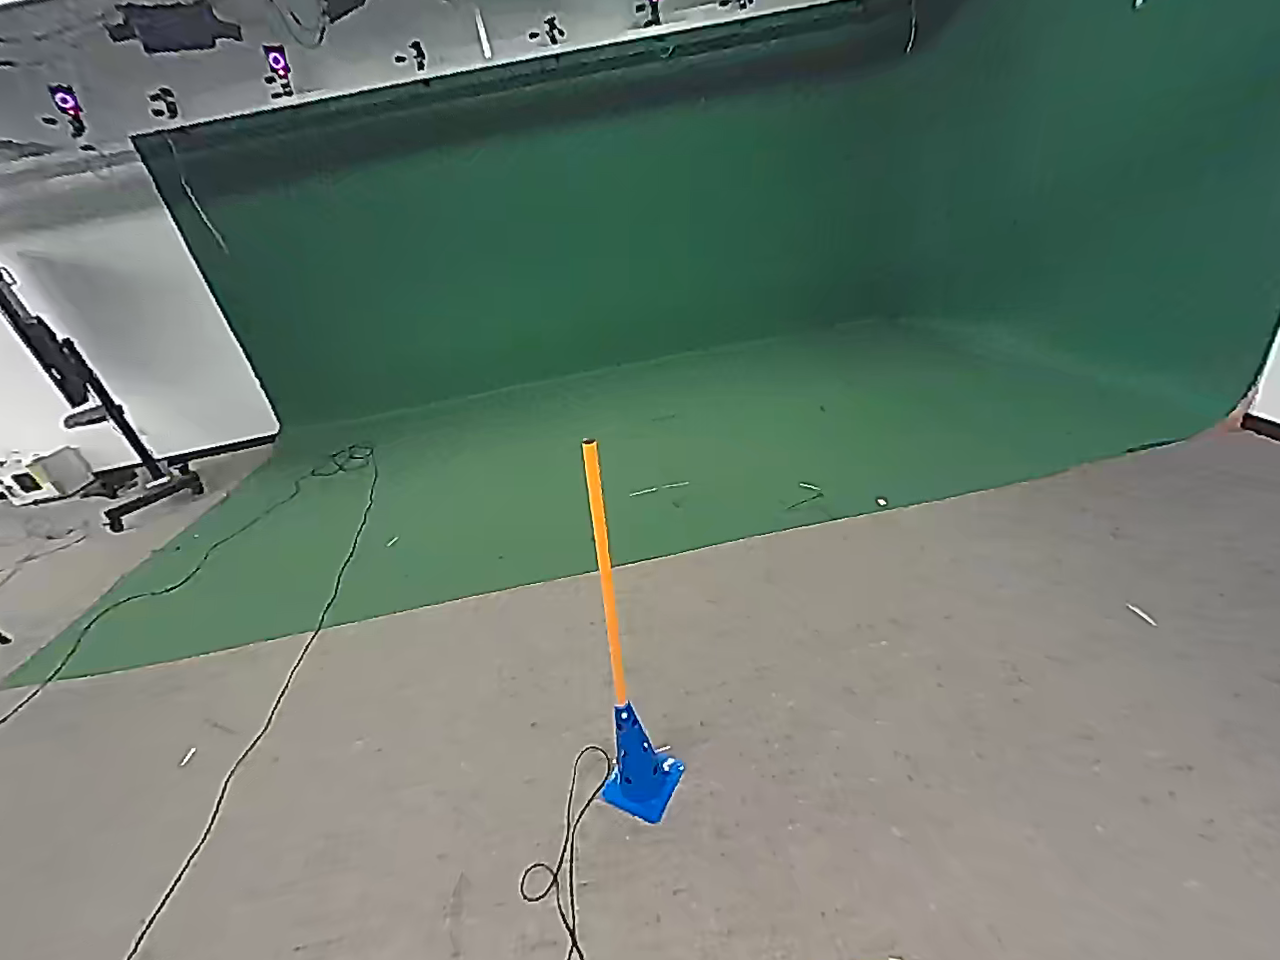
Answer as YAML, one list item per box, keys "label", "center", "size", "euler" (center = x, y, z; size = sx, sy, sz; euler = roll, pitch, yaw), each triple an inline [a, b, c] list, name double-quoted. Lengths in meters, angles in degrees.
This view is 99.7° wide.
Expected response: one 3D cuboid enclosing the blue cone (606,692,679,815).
- label: "blue cone"
  center: [-0.018, 0.750, 1.548]
  size: [0.192, 0.380, 0.193]
  euler: [5, 31, 27]
